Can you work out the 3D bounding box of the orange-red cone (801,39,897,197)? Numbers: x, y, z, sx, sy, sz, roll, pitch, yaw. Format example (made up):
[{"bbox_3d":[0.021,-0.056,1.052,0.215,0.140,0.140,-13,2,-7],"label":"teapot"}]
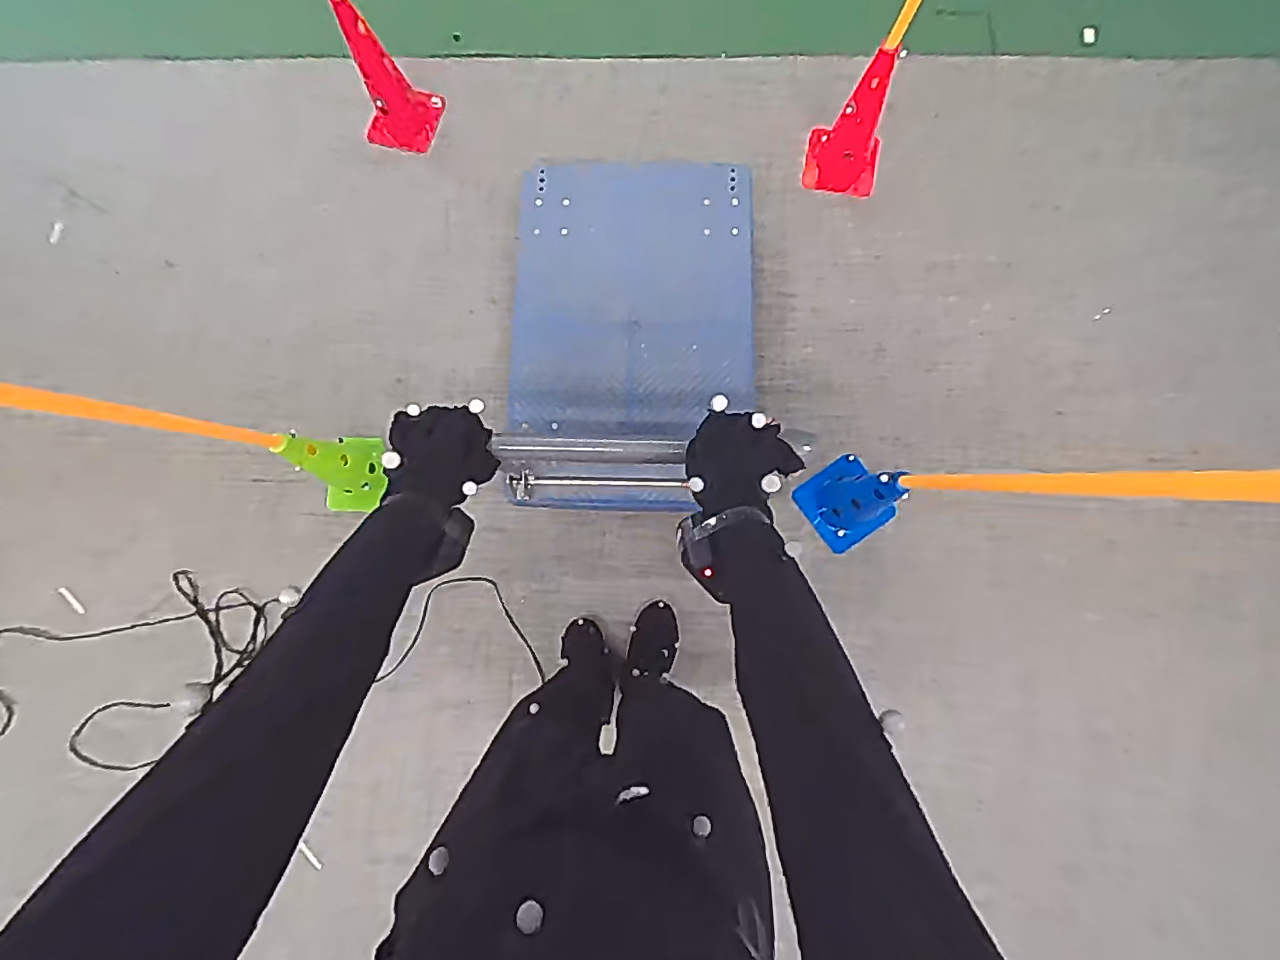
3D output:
[{"bbox_3d":[0.565,-0.935,1.376,0.198,0.360,0.199,13,81,5],"label":"orange-red cone"}]
